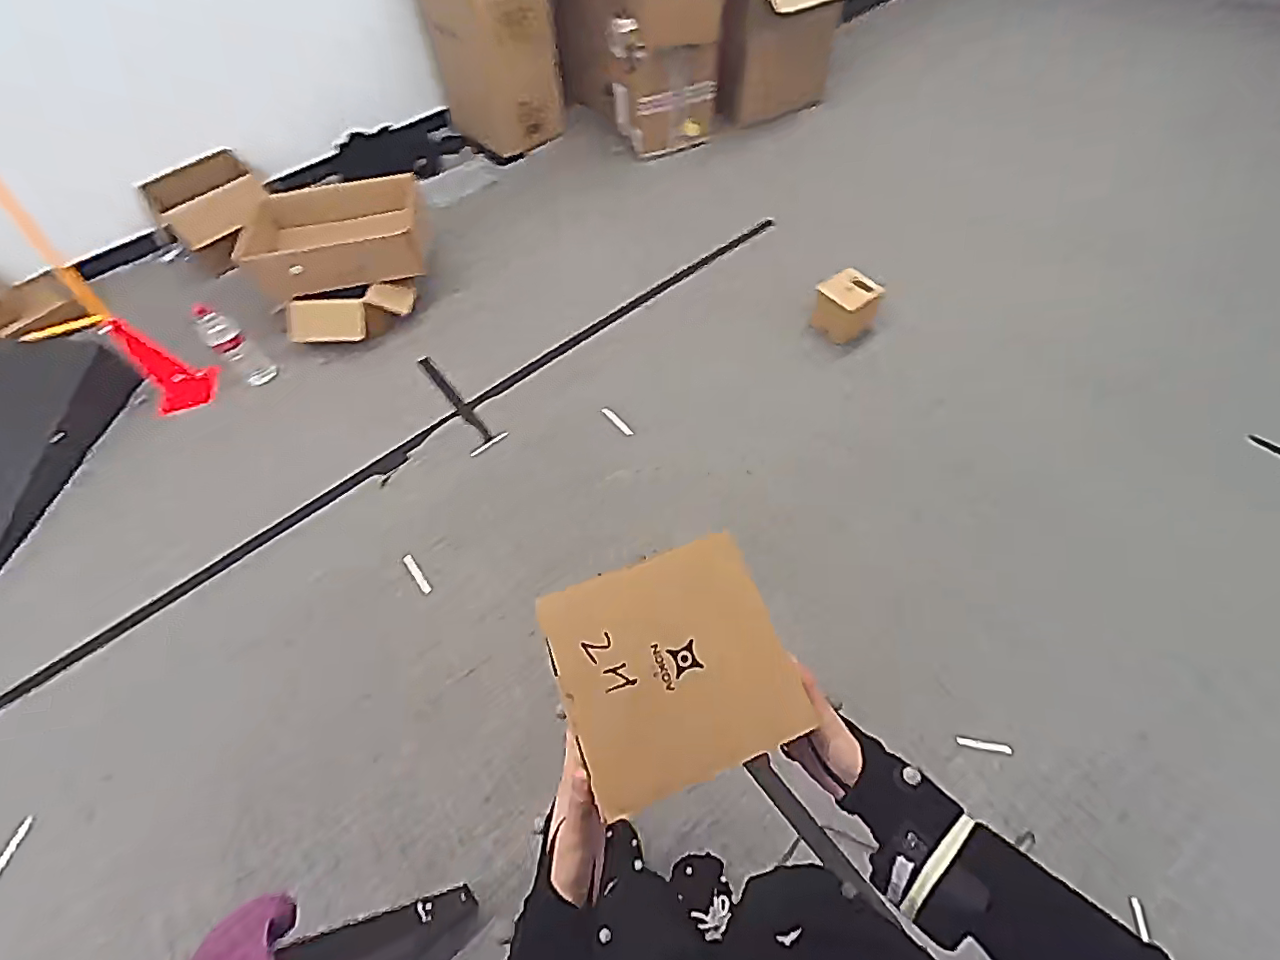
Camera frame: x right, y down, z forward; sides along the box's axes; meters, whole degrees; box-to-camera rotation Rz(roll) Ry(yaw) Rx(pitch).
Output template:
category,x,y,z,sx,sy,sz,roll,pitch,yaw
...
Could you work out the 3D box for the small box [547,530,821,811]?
category,x,y,z,sx,sy,sz,roll,pitch,yaw
small box,0.025,0.166,0.491,0.179,0.176,0.168,-17,69,-10
